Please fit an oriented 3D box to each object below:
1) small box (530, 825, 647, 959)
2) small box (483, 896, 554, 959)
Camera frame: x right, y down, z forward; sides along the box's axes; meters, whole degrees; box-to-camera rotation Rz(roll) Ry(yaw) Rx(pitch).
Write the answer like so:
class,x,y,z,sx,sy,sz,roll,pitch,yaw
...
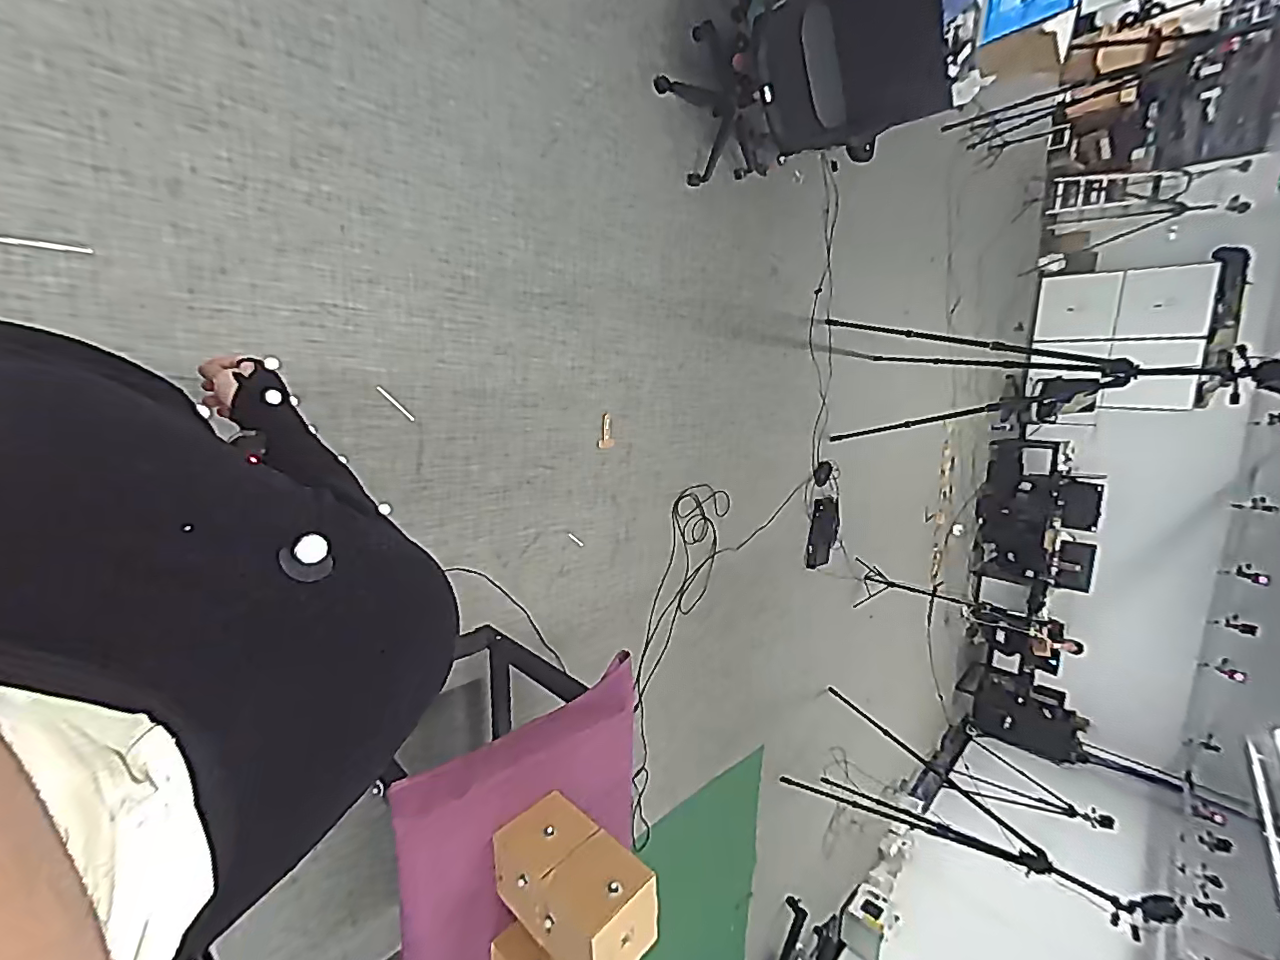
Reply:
class,x,y,z,sx,sy,sz,roll,pitch,yaw
small box,-0.104,0.862,1.108,0.179,0.176,0.168,-13,107,-45
small box,-0.243,1.114,1.258,0.179,0.176,0.168,-11,107,-44
